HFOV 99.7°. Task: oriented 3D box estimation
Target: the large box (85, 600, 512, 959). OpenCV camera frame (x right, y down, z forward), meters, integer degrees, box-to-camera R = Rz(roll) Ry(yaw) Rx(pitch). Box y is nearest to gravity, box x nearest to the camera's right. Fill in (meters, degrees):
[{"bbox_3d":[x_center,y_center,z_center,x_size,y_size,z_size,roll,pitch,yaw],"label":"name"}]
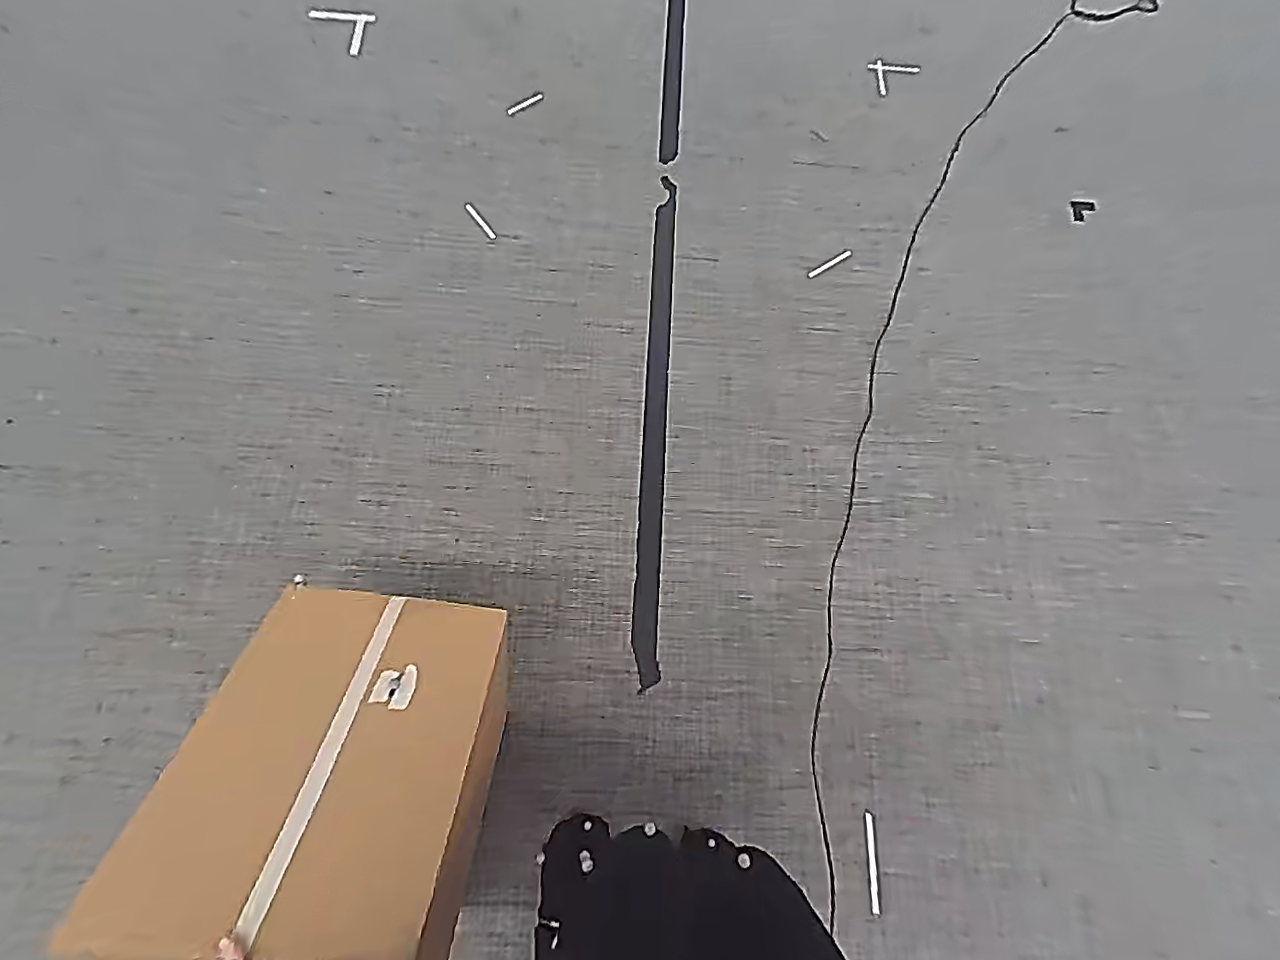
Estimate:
[{"bbox_3d":[-0.371,0.432,0.741,0.320,0.320,0.408,8,40,-4],"label":"large box"}]
